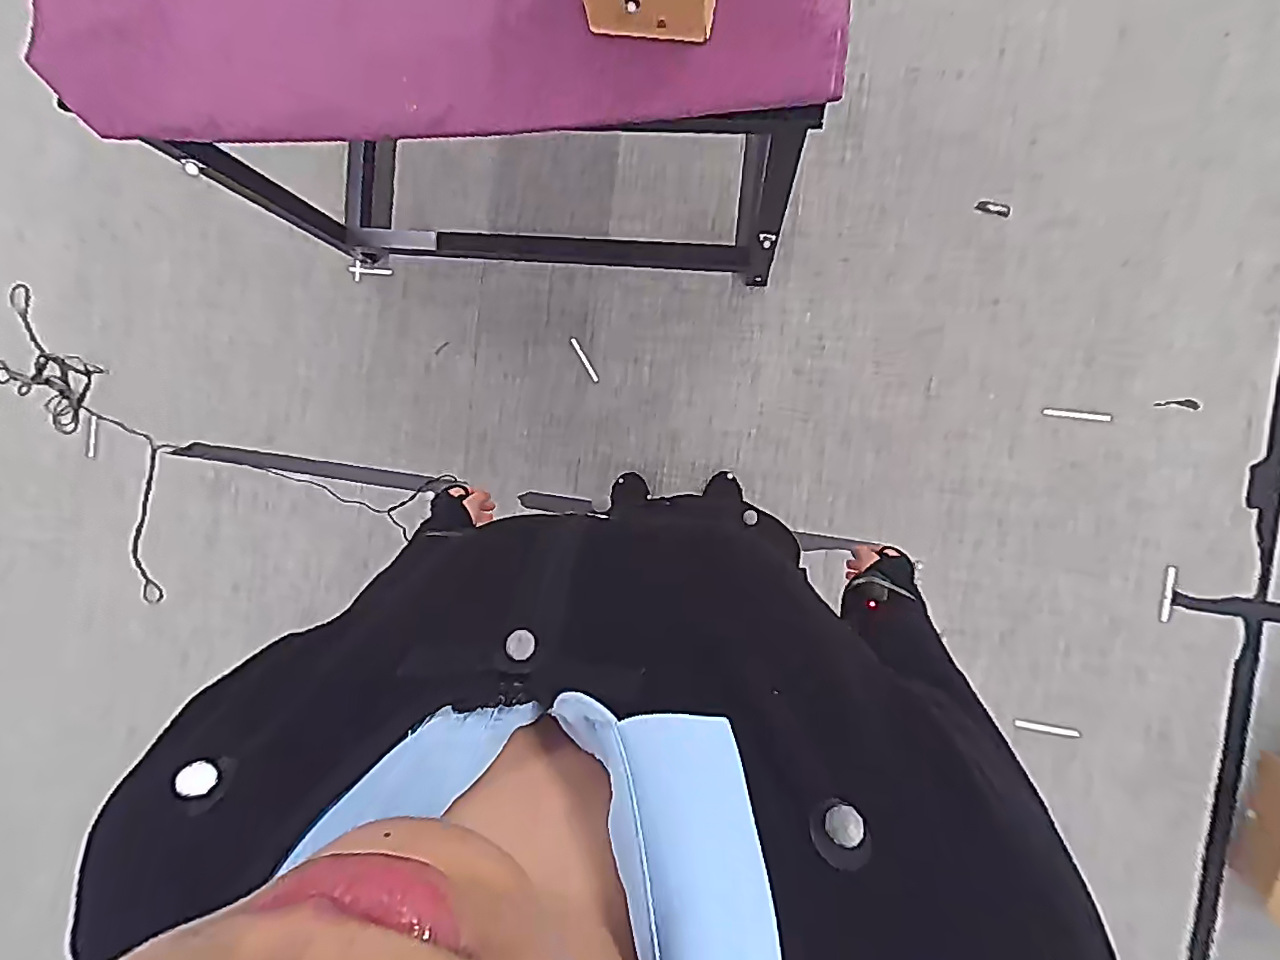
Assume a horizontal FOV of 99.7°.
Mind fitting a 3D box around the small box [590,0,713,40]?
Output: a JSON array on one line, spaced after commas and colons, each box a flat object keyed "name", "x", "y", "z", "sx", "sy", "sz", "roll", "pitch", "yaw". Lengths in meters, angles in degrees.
[{"name": "small box", "x": 0.016, "y": -0.693, "z": 0.656, "sx": 0.168, "sy": 0.176, "sz": 0.179, "roll": 11, "pitch": 92, "yaw": 7}]

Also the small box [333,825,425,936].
[{"name": "small box", "x": -0.722, "y": 1.110, "z": 1.513, "sx": 0.168, "sy": 0.176, "sz": 0.179, "roll": 5, "pitch": 92, "yaw": 8}]
